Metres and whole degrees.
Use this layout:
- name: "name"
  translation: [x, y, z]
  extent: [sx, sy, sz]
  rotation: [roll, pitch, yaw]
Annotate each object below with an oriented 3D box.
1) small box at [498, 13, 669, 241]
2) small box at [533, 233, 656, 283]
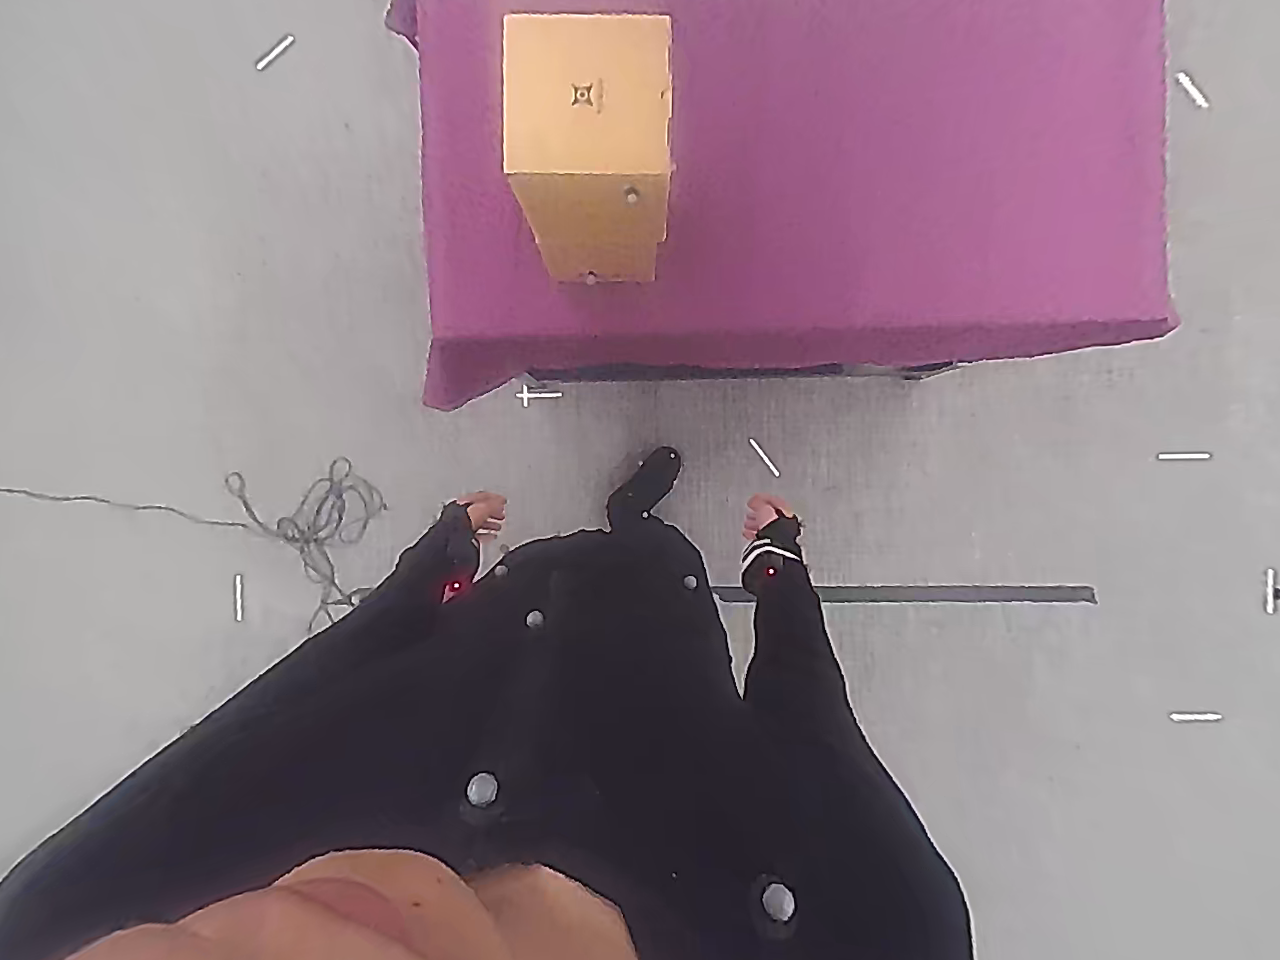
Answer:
- name: "small box"
  translation: [-0.057, -0.394, 0.633]
  extent: [0.179, 0.176, 0.168]
  rotation: [0, 92, 0]
- name: "small box"
  translation: [-0.061, -0.405, 0.795]
  extent: [0.168, 0.176, 0.179]
  rotation: [0, 92, 1]
